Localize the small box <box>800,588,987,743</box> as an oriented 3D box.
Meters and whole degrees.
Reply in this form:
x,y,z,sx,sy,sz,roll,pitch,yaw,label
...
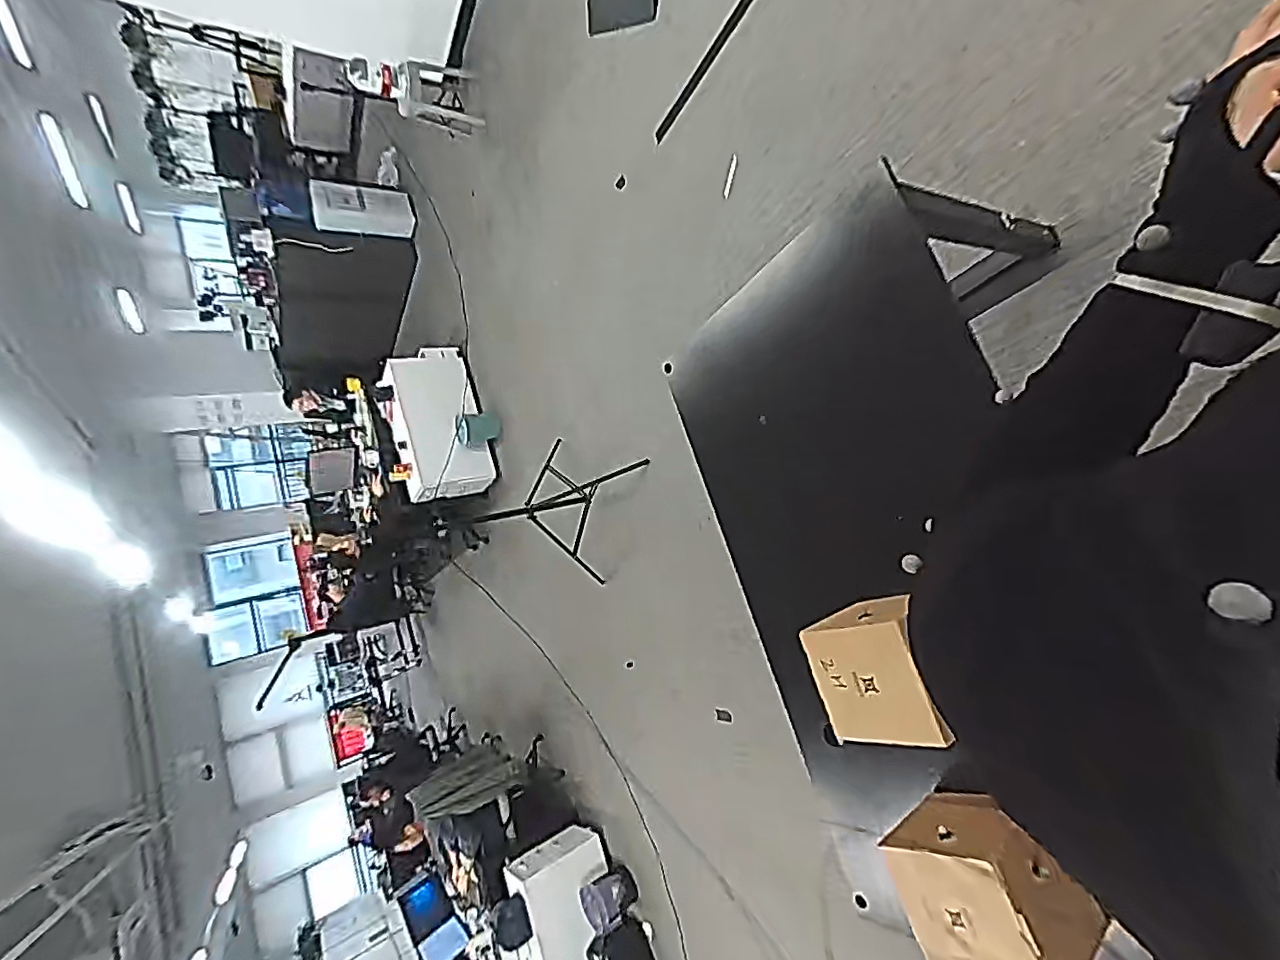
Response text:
x,y,z,sx,sy,sz,roll,pitch,yaw,label
0.383,0.270,0.809,0.179,0.176,0.168,-32,73,54,small box

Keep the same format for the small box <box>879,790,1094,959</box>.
x,y,z,sx,sy,sz,roll,pitch,yaw,label
0.483,0.555,0.752,0.179,0.176,0.168,-42,64,52,small box
